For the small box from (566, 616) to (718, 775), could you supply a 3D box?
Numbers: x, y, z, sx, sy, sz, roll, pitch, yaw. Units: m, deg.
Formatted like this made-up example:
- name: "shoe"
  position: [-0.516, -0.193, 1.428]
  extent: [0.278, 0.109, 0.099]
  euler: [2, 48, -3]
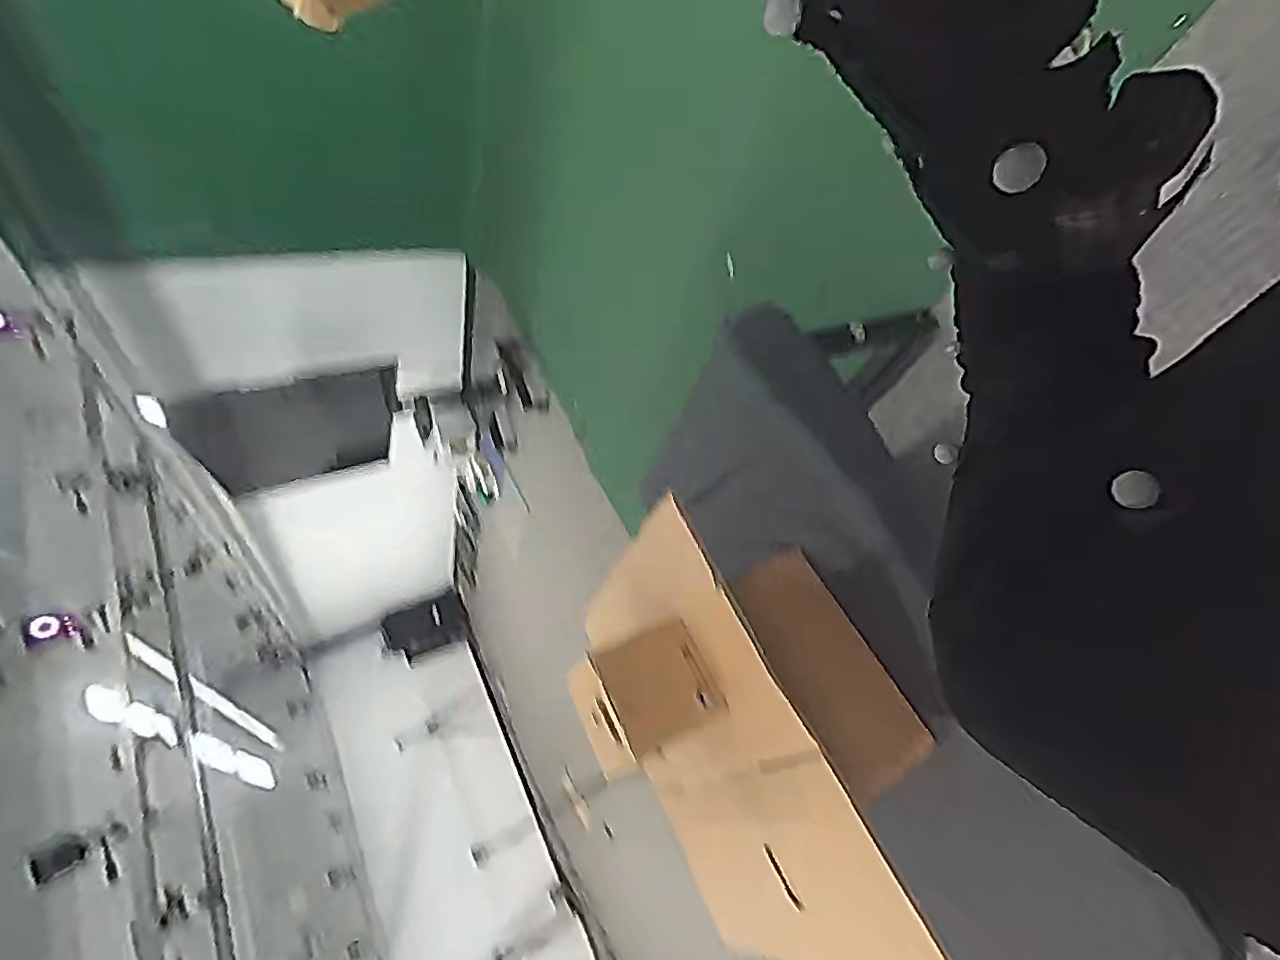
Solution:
- name: "small box"
  position: [0.002, 0.343, 0.872]
  extent: [0.168, 0.176, 0.179]
  euler: [61, 148, 25]
